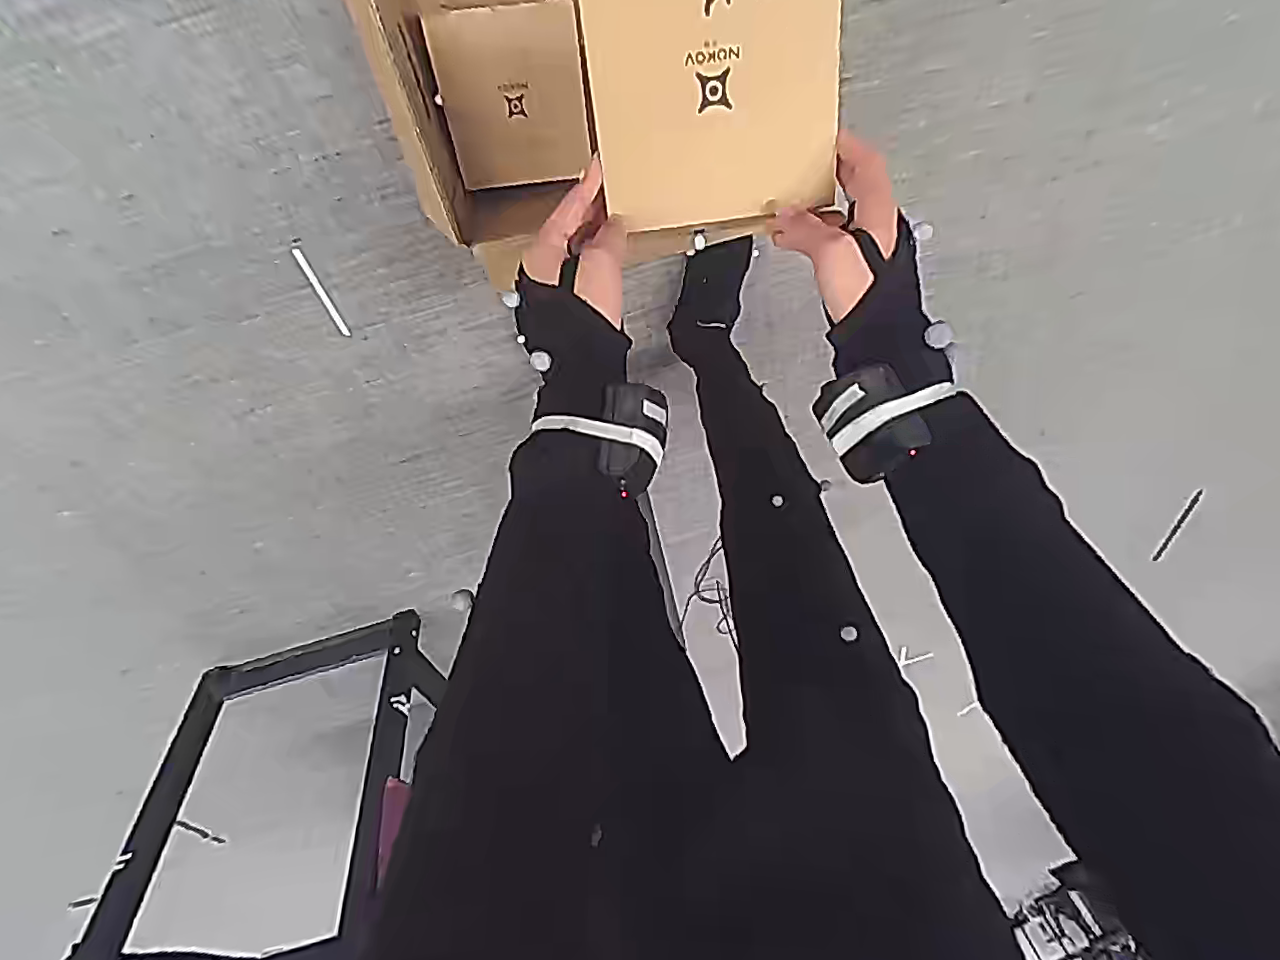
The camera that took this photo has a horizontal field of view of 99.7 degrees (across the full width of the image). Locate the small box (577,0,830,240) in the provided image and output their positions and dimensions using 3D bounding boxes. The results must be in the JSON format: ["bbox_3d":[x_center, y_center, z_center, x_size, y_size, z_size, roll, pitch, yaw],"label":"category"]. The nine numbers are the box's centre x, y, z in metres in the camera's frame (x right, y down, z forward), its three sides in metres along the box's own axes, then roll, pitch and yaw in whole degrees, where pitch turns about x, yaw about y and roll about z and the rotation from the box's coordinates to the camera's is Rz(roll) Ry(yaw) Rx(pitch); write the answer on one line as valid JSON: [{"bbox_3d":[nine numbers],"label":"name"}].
[{"bbox_3d":[0.044,-0.299,0.442,0.168,0.176,0.179,-7,112,0],"label":"small box"}]
